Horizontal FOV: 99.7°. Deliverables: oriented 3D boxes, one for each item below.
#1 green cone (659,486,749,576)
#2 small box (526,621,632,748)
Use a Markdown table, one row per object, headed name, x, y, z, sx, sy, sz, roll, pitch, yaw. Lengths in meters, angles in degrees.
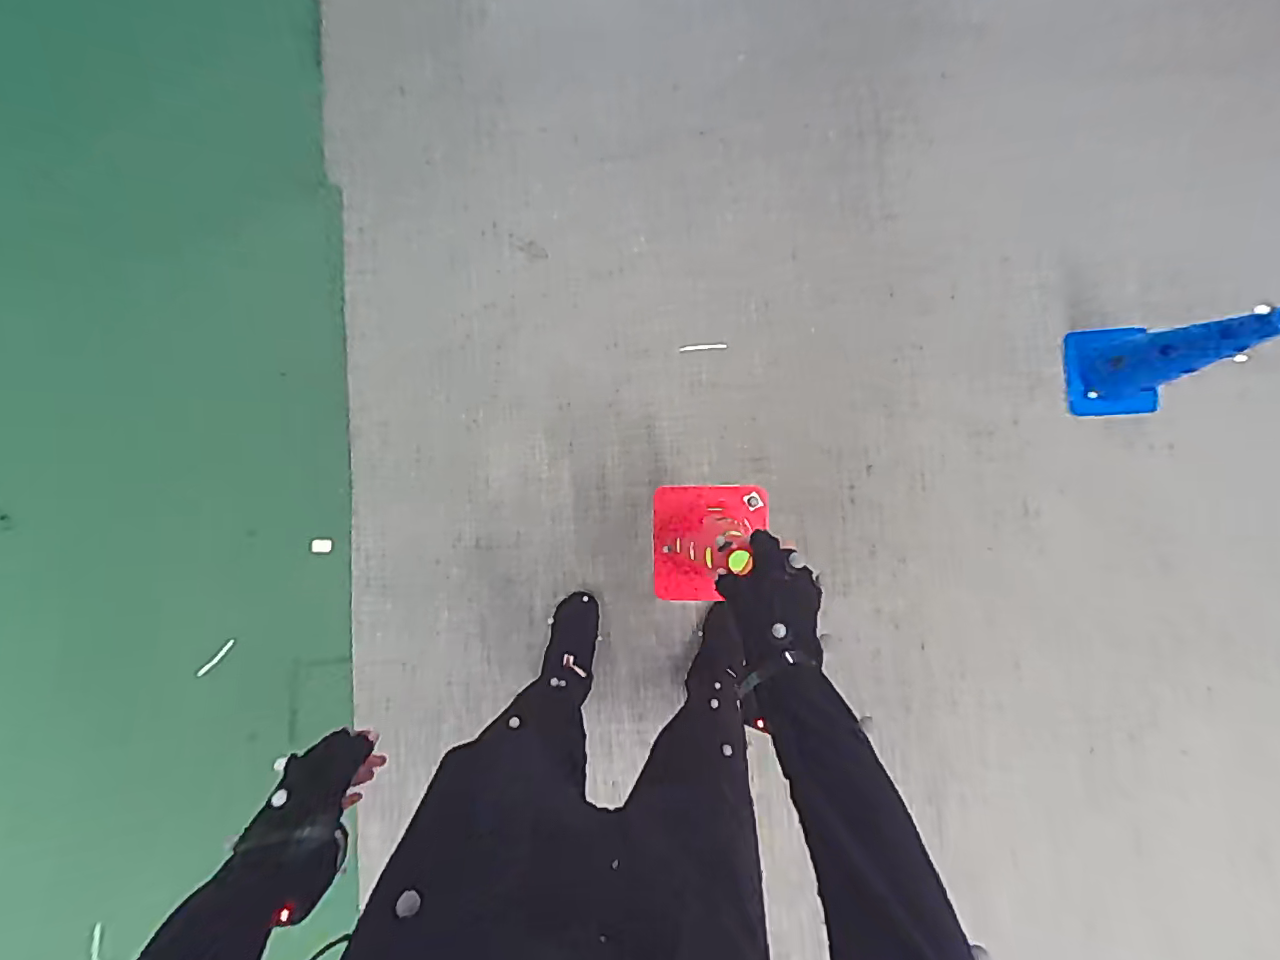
| name | x | y | z | sx | sy | sz | roll | pitch | yaw |
| --- | --- | --- | --- | --- | --- | --- | --- | --- | --- |
| green cone | 0.142 | 0.108 | 1.073 | 0.202 | 0.368 | 0.200 | -4 | 87 | 1 |
| small box | -0.139 | 0.449 | 1.210 | 0.168 | 0.176 | 0.179 | 30 | 89 | -12 |
